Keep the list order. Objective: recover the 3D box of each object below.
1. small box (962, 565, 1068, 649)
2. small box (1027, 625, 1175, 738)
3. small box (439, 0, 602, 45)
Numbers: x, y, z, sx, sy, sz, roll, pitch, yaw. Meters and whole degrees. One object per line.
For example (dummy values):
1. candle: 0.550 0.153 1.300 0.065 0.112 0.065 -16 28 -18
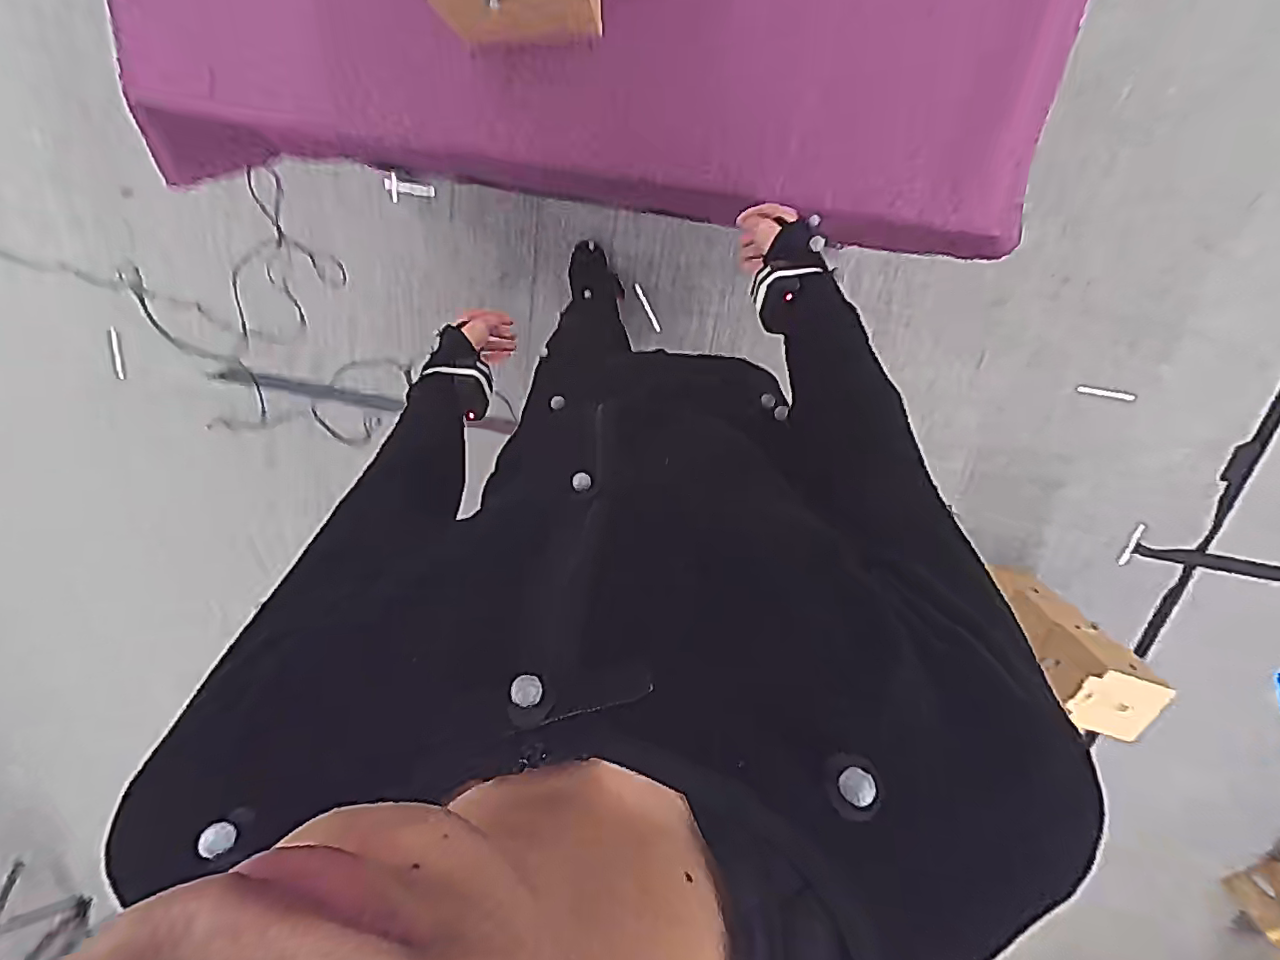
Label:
1. small box: 1.115 0.374 1.628 0.179 0.176 0.168 13 111 -1
2. small box: 1.106 0.483 1.315 0.179 0.176 0.168 19 111 -2
3. small box: -0.142 -0.603 0.584 0.179 0.176 0.168 -1 110 4
